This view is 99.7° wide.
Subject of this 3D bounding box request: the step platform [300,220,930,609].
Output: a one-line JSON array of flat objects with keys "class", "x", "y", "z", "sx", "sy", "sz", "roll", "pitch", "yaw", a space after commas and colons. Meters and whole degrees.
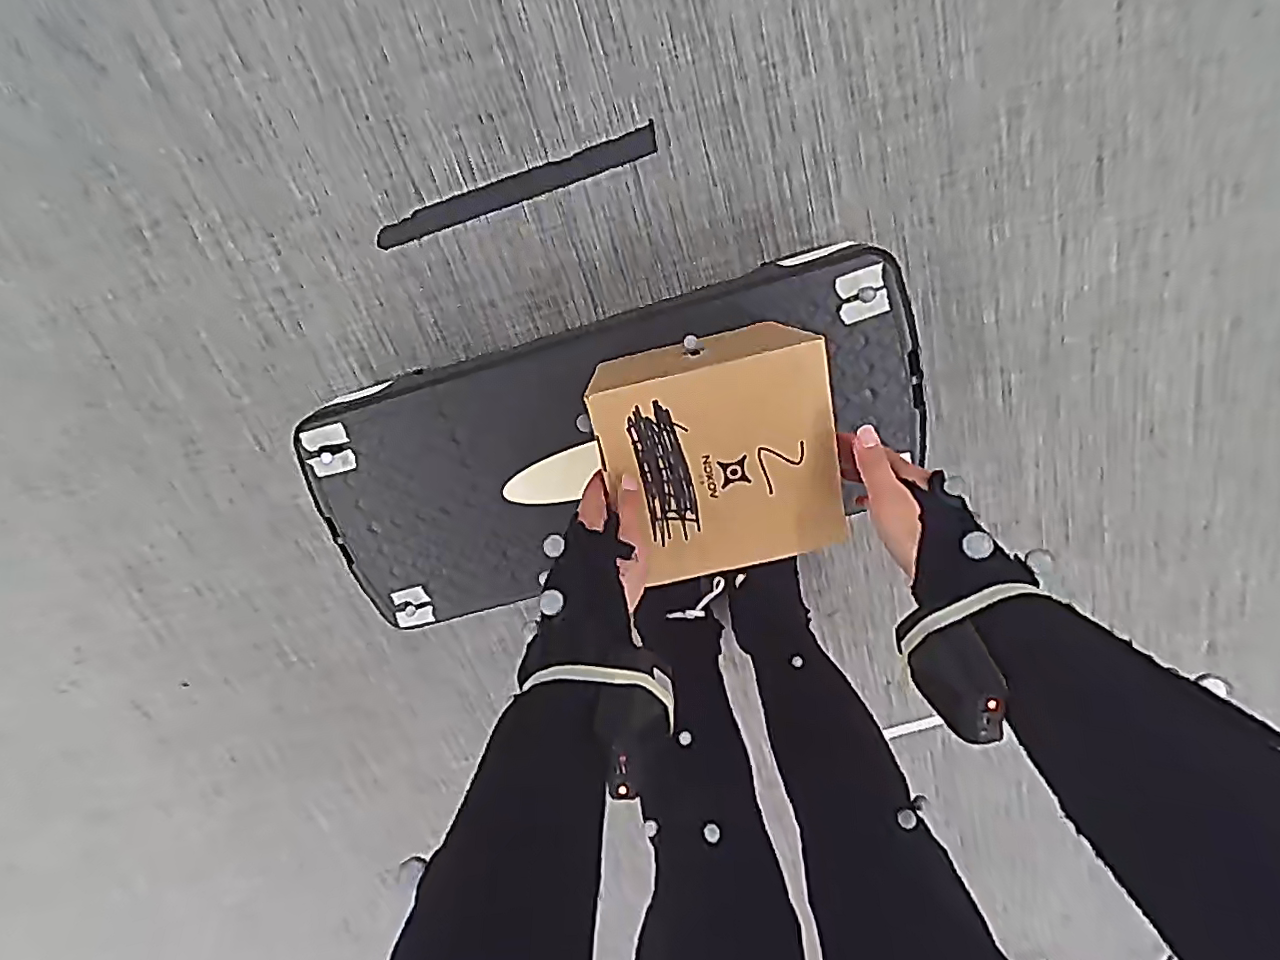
[{"class": "step platform", "x": -0.025, "y": -0.072, "z": 0.658, "sx": 0.684, "sy": 0.204, "sz": 0.286, "roll": -15, "pitch": 109, "yaw": 6}]
